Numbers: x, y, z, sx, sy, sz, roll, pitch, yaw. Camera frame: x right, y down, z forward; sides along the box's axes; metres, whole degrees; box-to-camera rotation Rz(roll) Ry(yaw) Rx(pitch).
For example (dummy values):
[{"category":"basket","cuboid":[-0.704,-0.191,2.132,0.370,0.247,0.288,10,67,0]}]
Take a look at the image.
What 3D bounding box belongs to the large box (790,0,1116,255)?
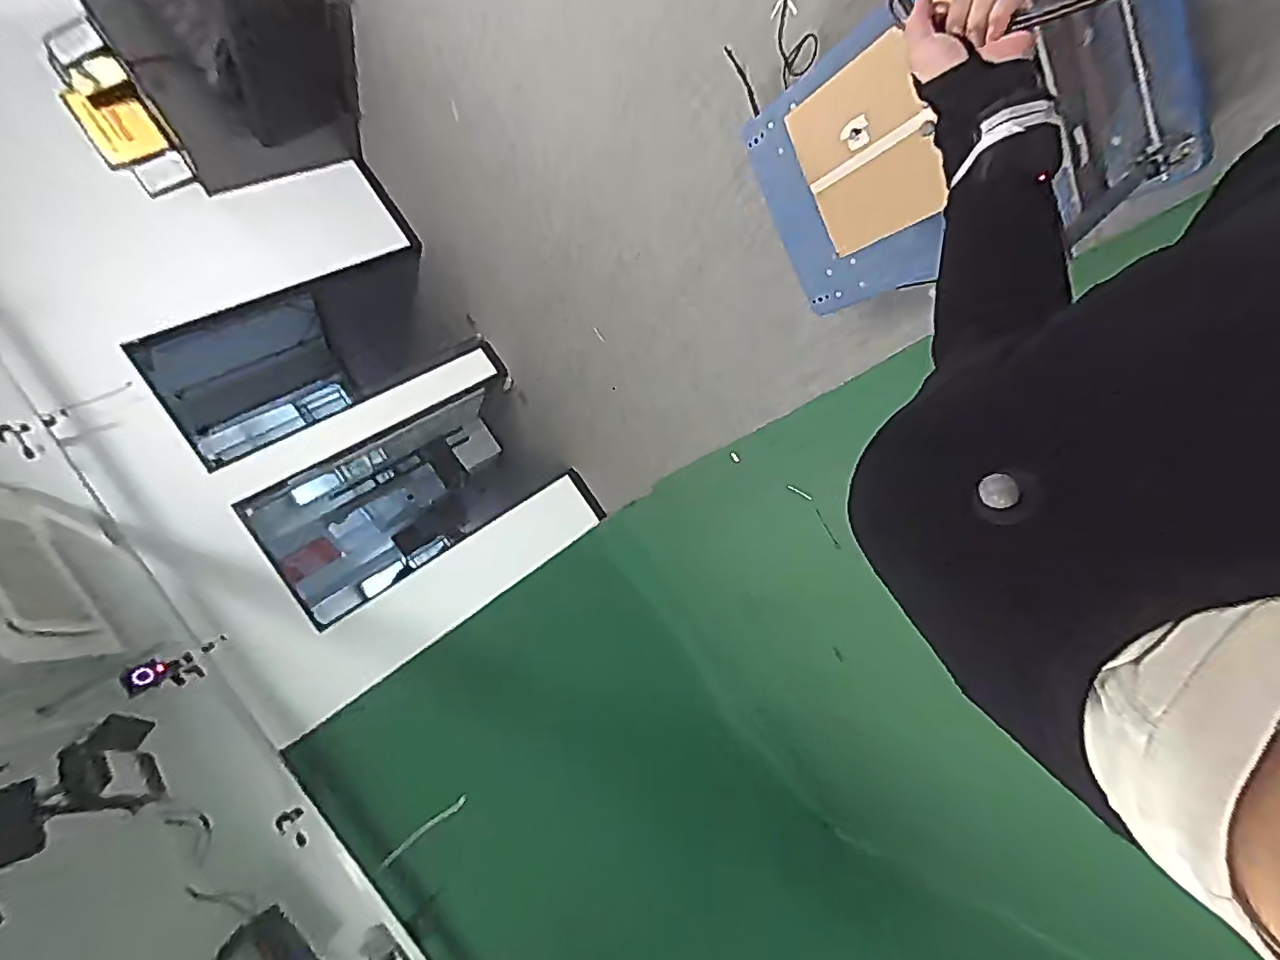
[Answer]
[{"category":"large box","cuboid":[0.585,-0.711,1.047,0.408,0.320,0.320,-3,118,61]}]
